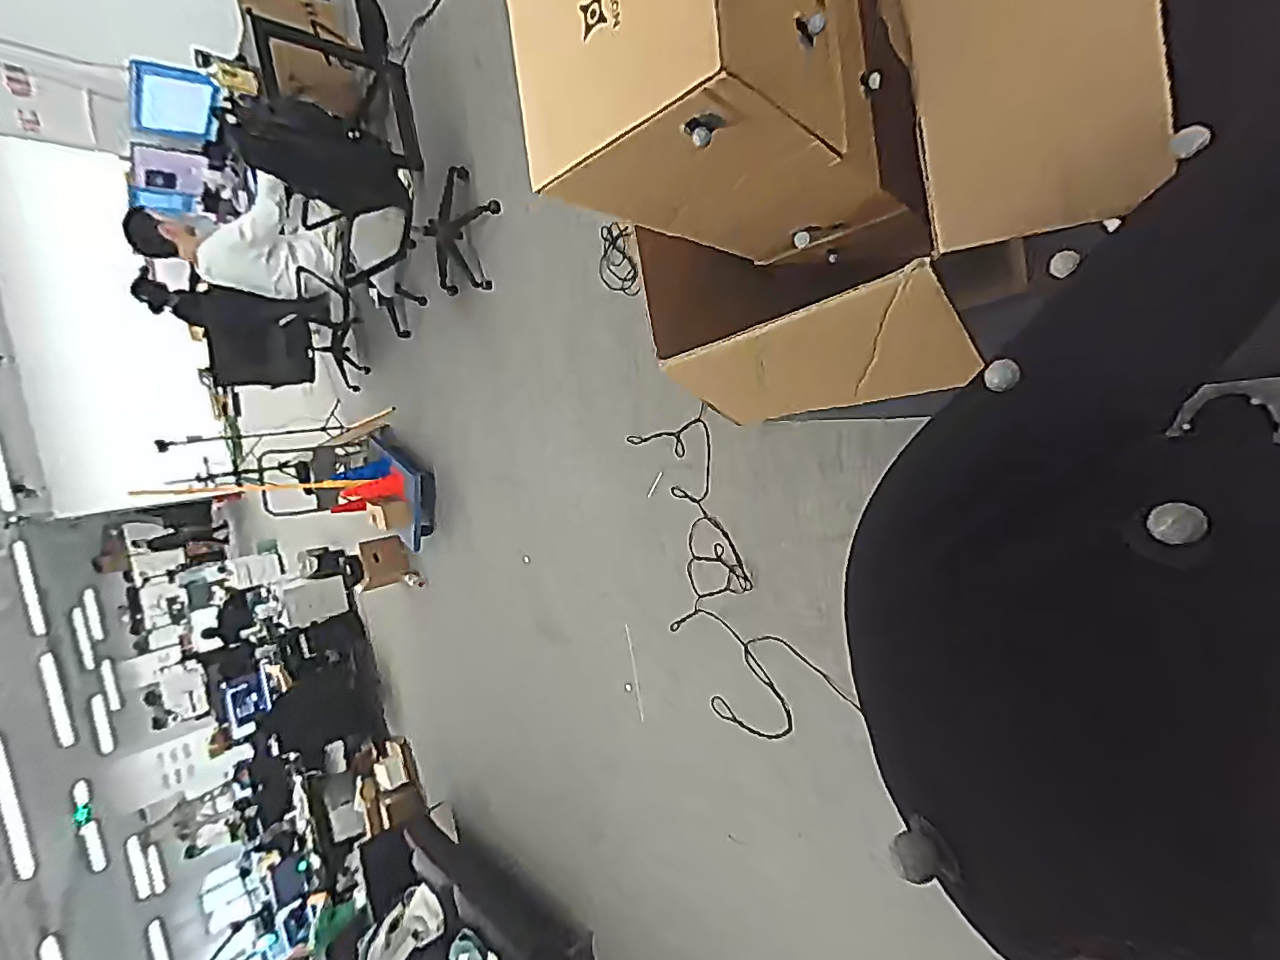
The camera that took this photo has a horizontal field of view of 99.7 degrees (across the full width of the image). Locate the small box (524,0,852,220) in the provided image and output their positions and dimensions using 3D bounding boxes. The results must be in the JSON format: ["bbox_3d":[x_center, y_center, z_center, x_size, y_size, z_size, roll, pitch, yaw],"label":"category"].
[{"bbox_3d":[0.037,-0.319,0.406,0.179,0.176,0.168,-3,96,42],"label":"small box"}]
